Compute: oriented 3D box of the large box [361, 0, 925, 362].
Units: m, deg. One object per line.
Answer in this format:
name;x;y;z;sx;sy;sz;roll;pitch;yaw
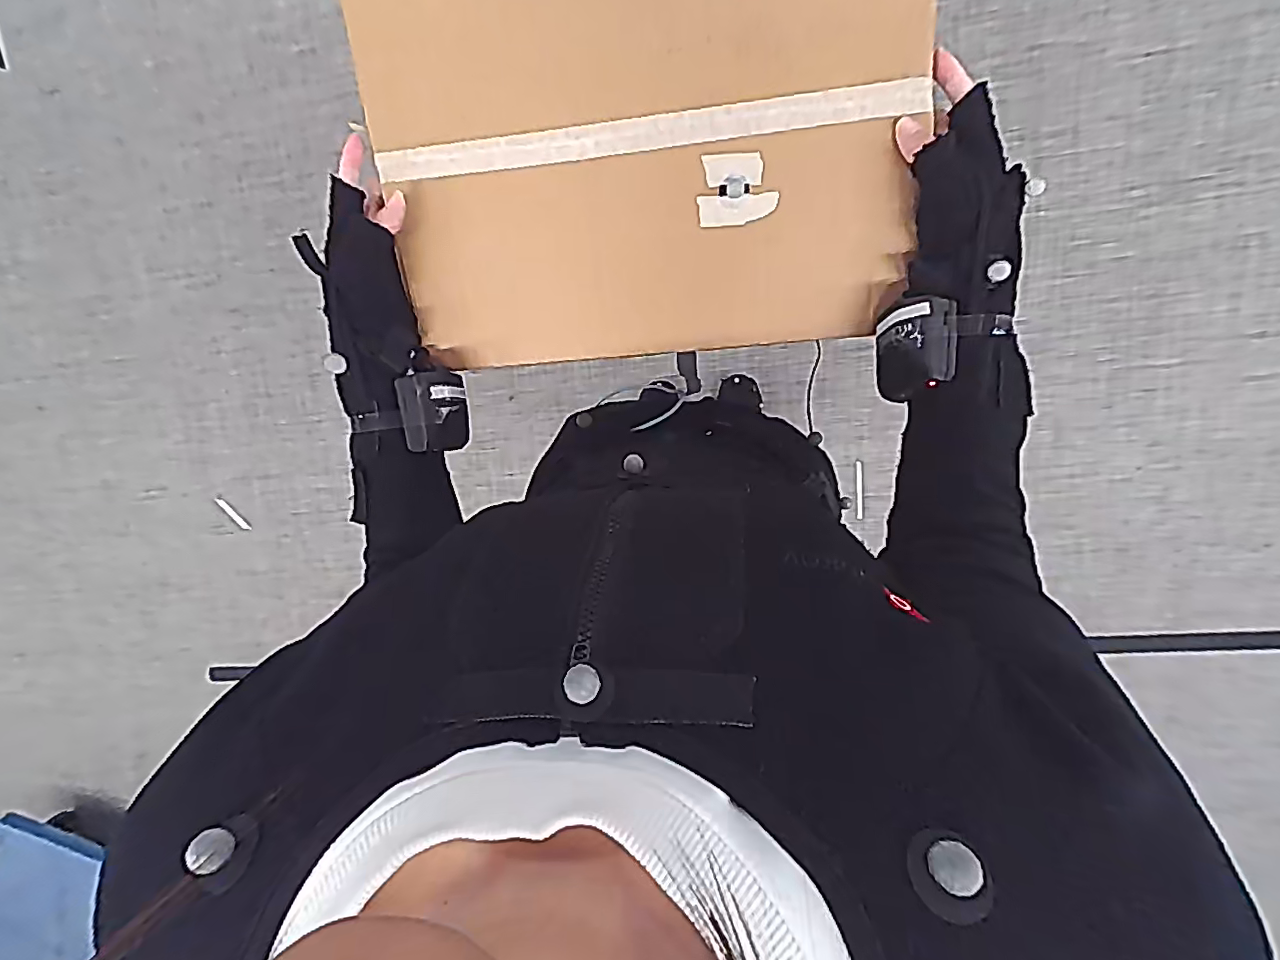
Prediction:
large box;0.013;-0.309;0.548;0.408;0.320;0.320;-4;108;5
